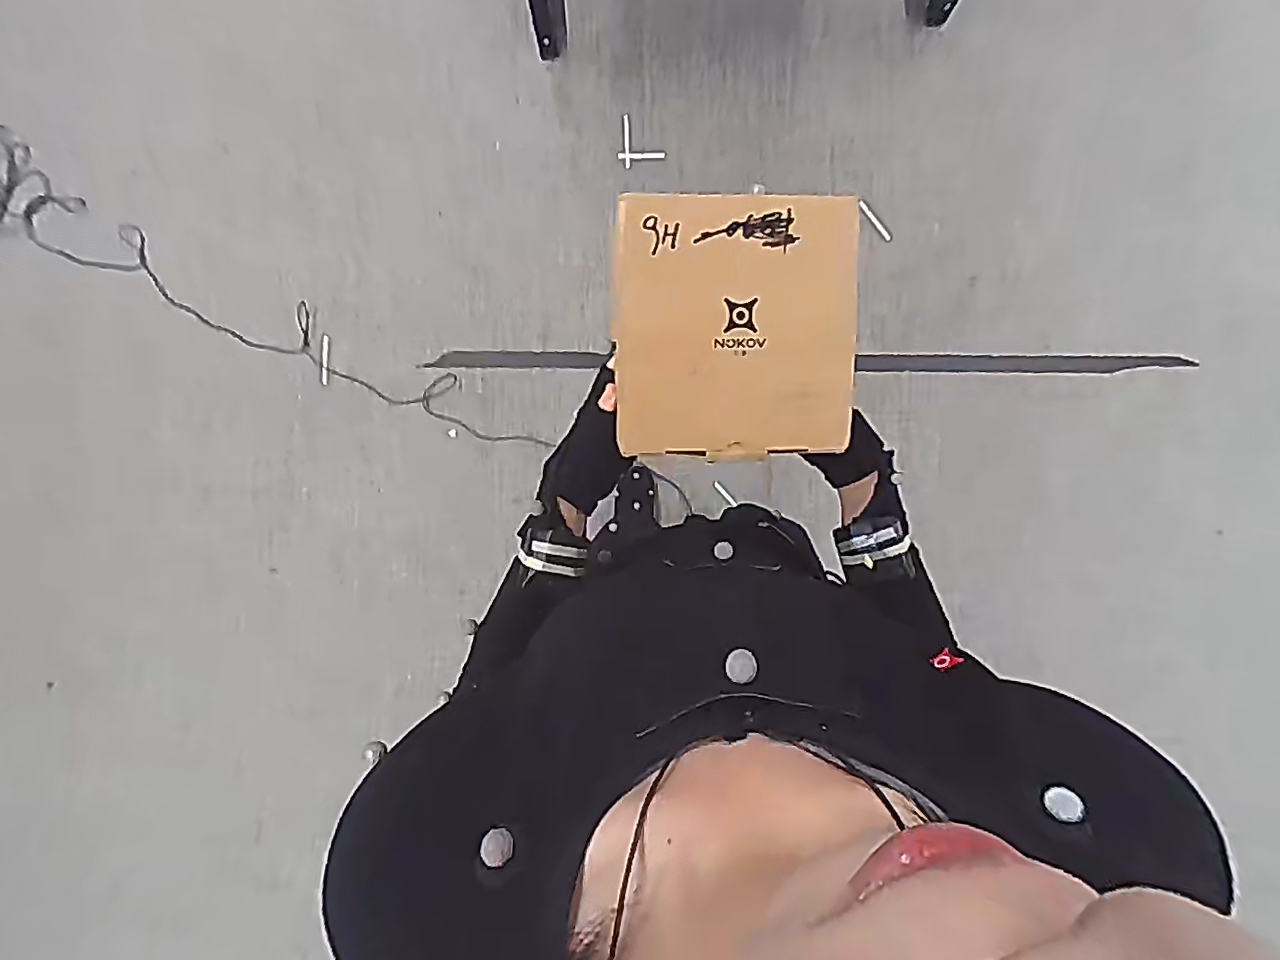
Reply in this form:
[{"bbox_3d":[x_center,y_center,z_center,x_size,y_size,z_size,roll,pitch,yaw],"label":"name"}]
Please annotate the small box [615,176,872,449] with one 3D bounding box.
[{"bbox_3d":[0.065,-0.122,0.441,0.168,0.176,0.179,-1,99,-4],"label":"small box"}]
